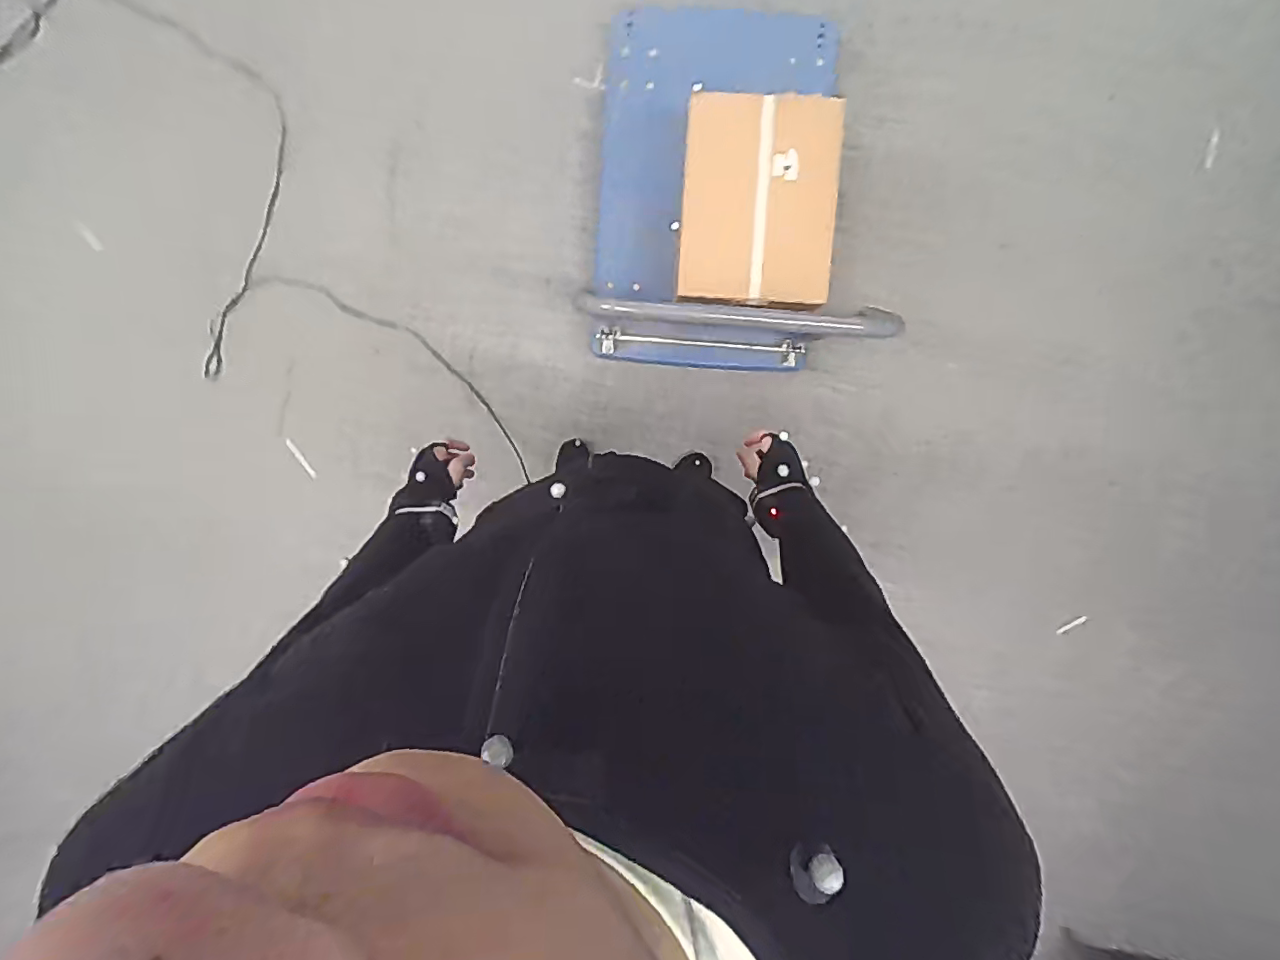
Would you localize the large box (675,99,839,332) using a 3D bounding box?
[{"bbox_3d":[0.245,-0.578,1.257,0.320,0.320,0.408,3,94,0],"label":"large box"}]
